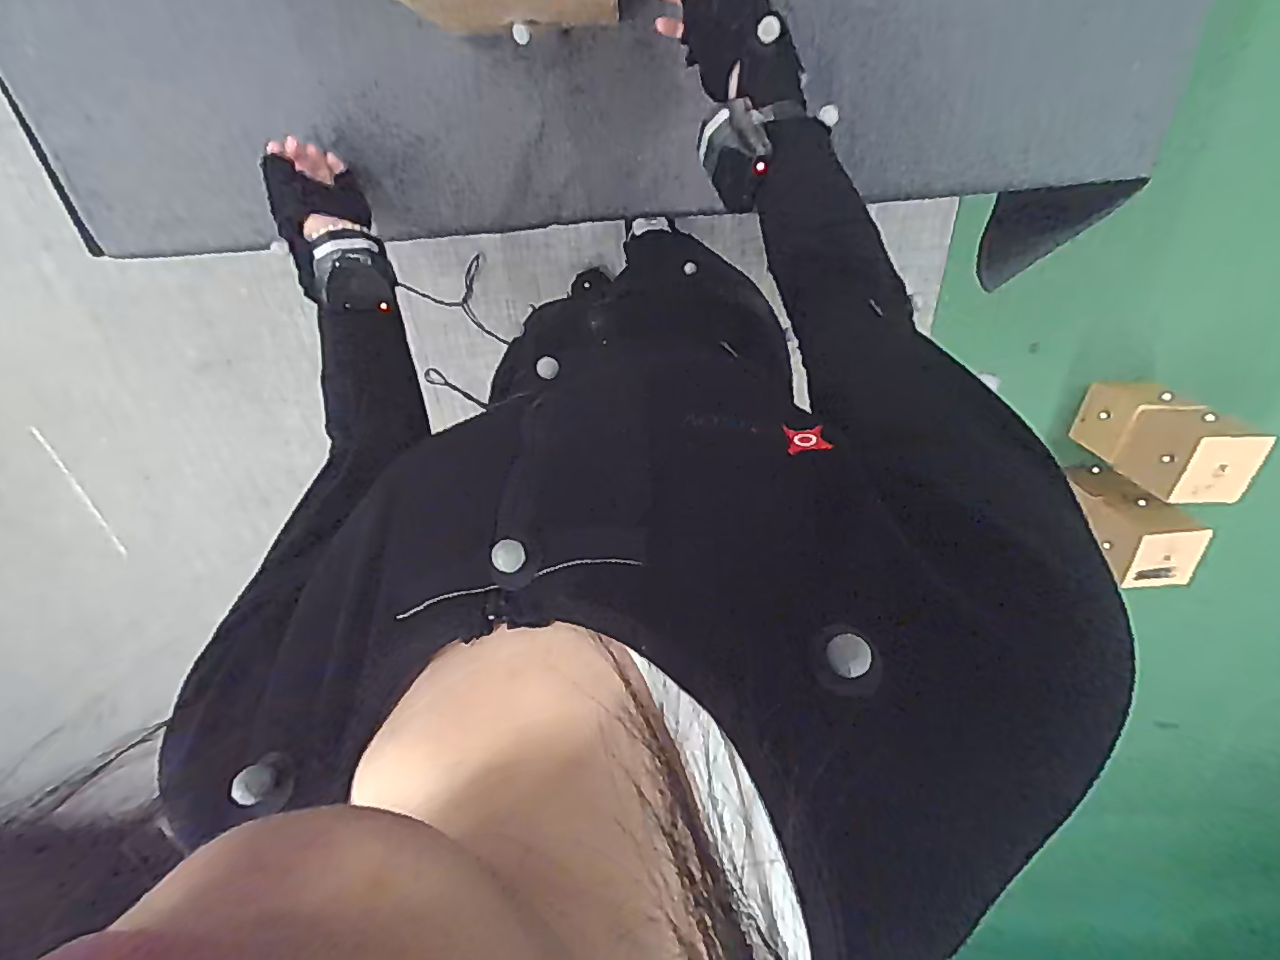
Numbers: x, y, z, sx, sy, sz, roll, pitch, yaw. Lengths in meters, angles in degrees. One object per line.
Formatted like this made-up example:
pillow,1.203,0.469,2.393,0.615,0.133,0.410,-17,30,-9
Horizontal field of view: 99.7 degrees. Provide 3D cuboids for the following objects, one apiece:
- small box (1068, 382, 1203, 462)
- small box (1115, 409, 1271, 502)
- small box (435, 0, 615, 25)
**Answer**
small box,1.302,-0.155,1.440,0.179,0.176,0.168,1,120,-1
small box,1.312,-0.064,1.302,0.168,0.176,0.179,1,120,0
small box,-0.107,-0.479,0.410,0.168,0.176,0.179,-2,121,2
